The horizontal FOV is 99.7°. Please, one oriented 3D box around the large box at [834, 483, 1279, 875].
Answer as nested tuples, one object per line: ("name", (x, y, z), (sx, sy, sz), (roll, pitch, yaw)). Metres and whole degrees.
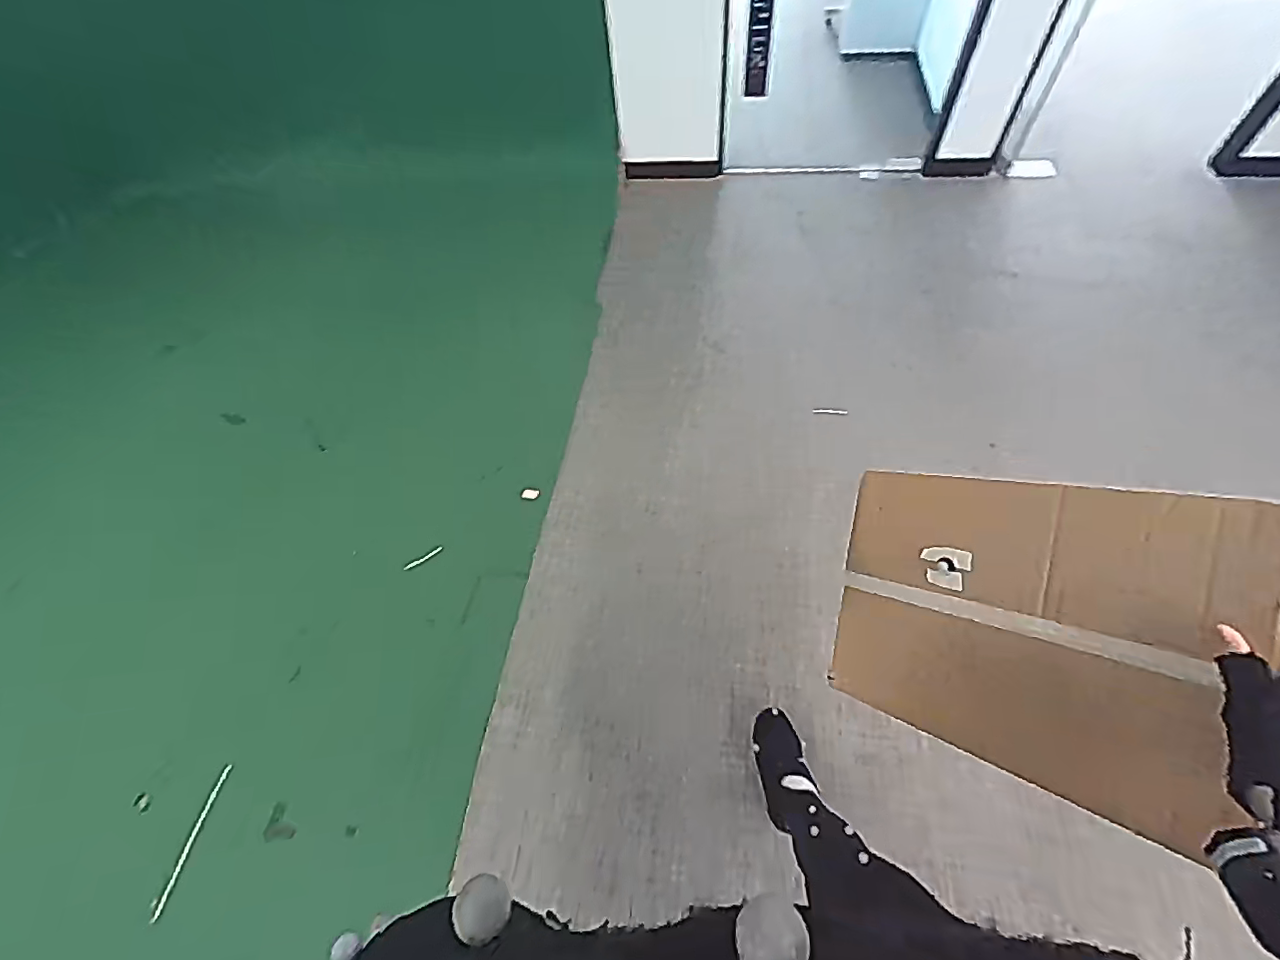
("large box", (0.529, 0.189, 0.686), (0.320, 0.408, 0.320), (13, 87, -32))
